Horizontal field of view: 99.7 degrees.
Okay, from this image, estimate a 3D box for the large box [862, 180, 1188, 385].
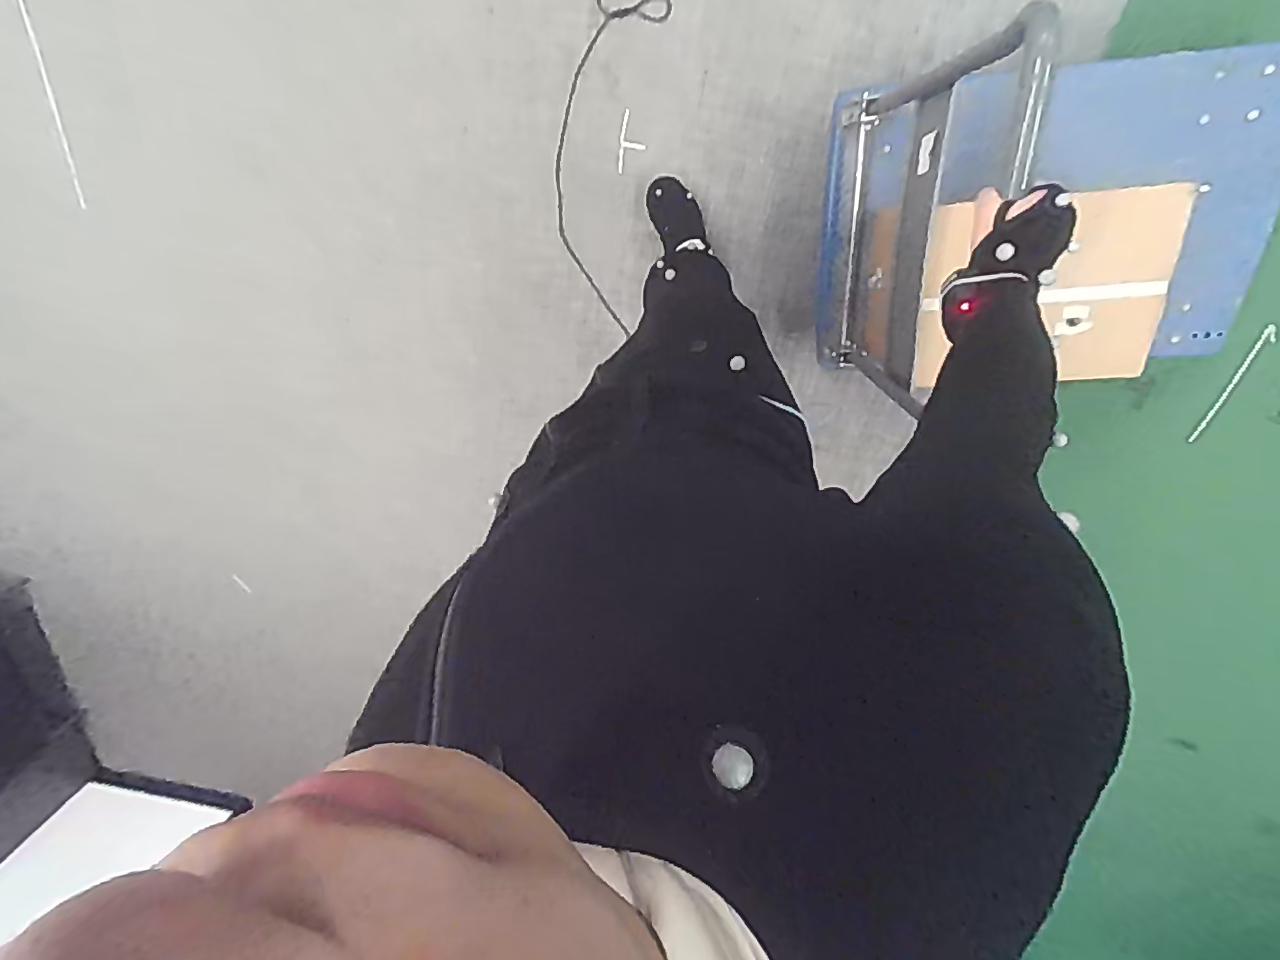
[{"bbox_3d":[0.692,-0.389,1.068,0.408,0.320,0.320,-1,117,7],"label":"large box"}]
